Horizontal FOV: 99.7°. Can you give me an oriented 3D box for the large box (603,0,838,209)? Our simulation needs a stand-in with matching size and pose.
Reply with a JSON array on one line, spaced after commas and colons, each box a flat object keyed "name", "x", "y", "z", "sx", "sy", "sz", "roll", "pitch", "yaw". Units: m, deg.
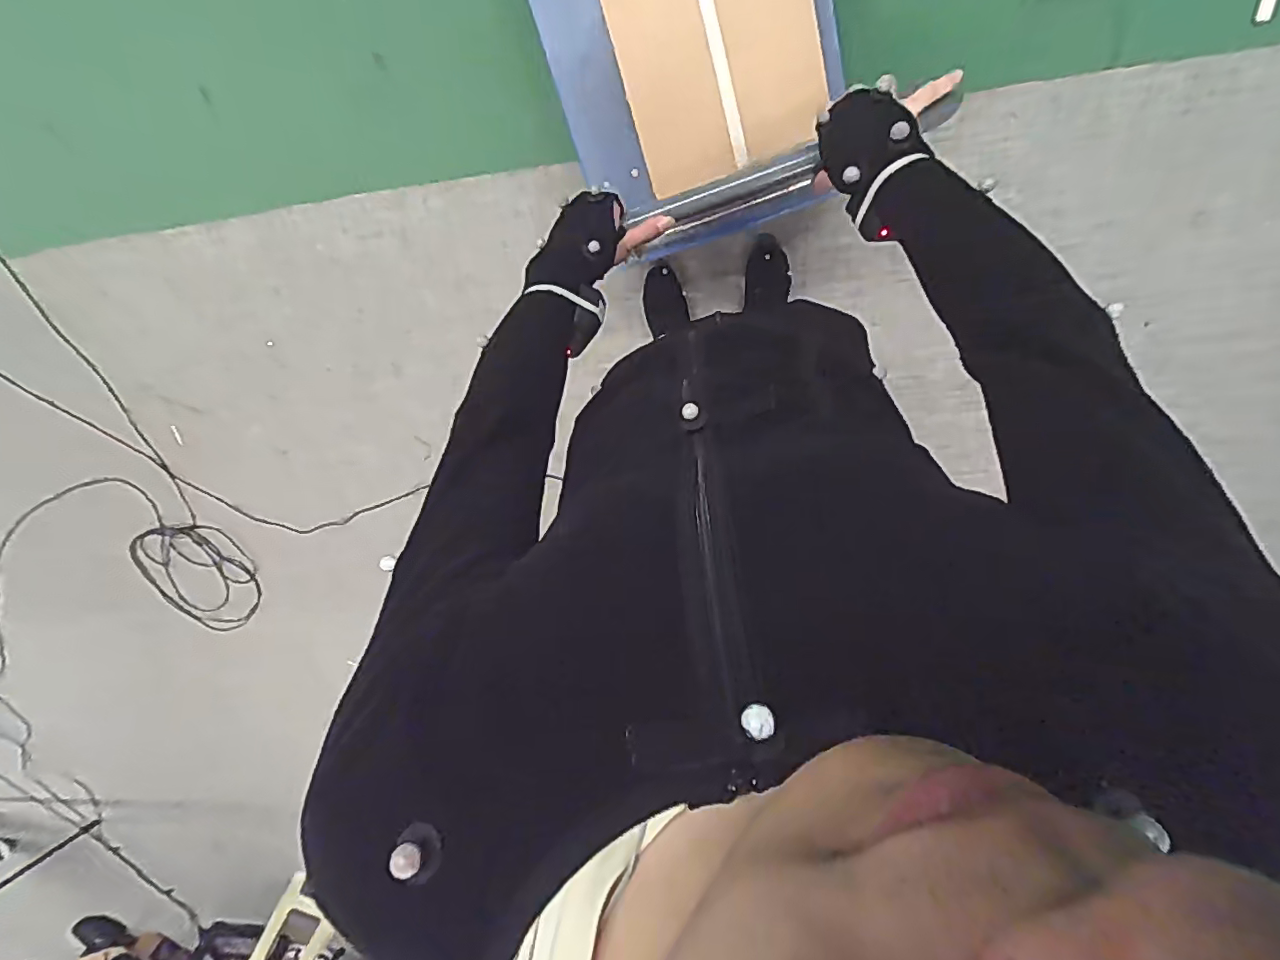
[{"name": "large box", "x": 0.140, "y": -0.762, "z": 0.986, "sx": 0.320, "sy": 0.320, "sz": 0.408, "roll": -14, "pitch": 111, "yaw": 13}]
